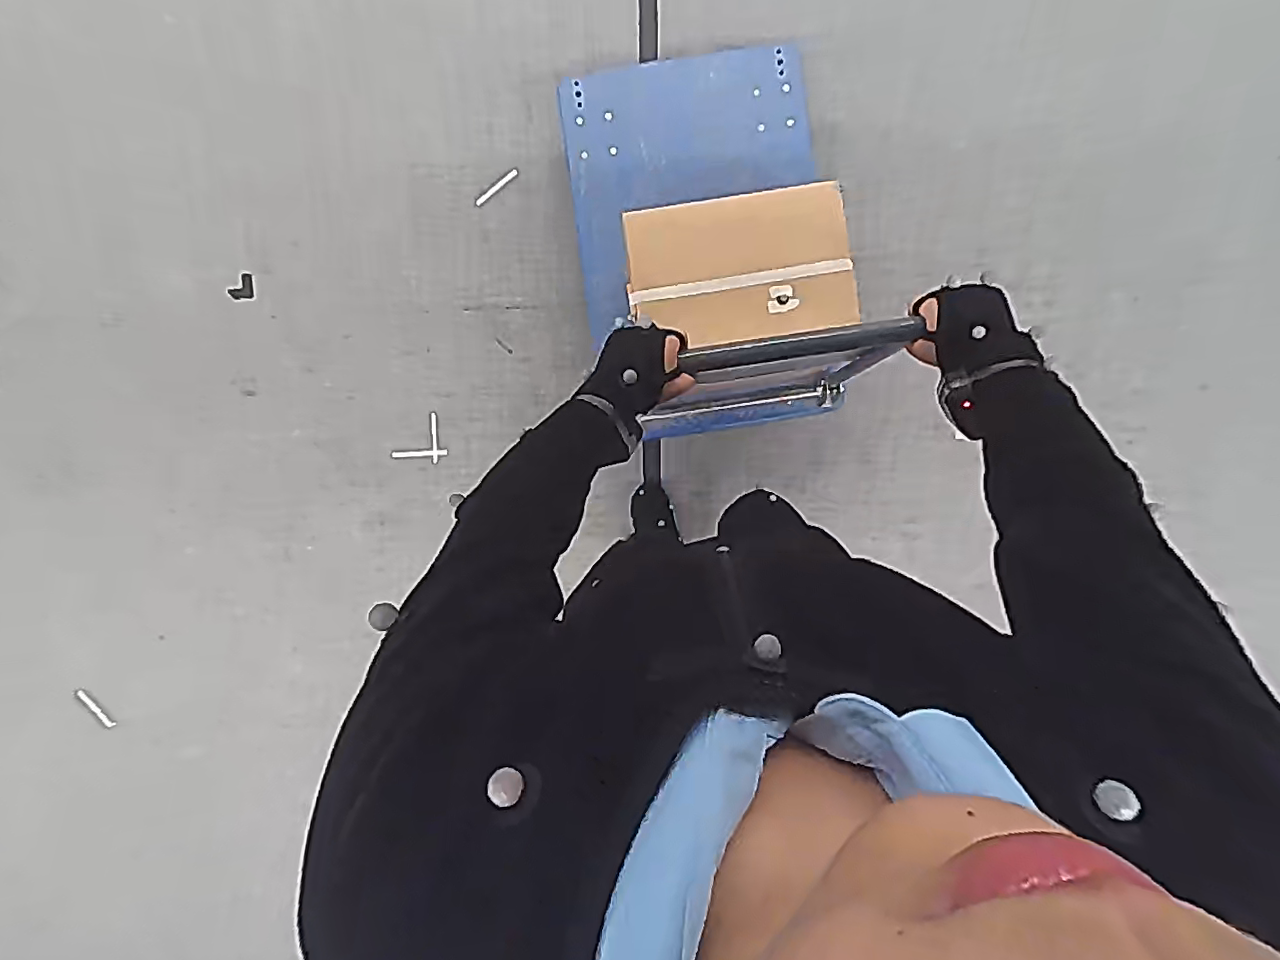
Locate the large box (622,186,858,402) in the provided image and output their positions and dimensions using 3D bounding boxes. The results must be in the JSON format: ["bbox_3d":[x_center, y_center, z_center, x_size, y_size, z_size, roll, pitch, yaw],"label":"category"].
[{"bbox_3d":[0.186,-0.362,1.145,0.408,0.320,0.320,-8,92,0],"label":"large box"}]
